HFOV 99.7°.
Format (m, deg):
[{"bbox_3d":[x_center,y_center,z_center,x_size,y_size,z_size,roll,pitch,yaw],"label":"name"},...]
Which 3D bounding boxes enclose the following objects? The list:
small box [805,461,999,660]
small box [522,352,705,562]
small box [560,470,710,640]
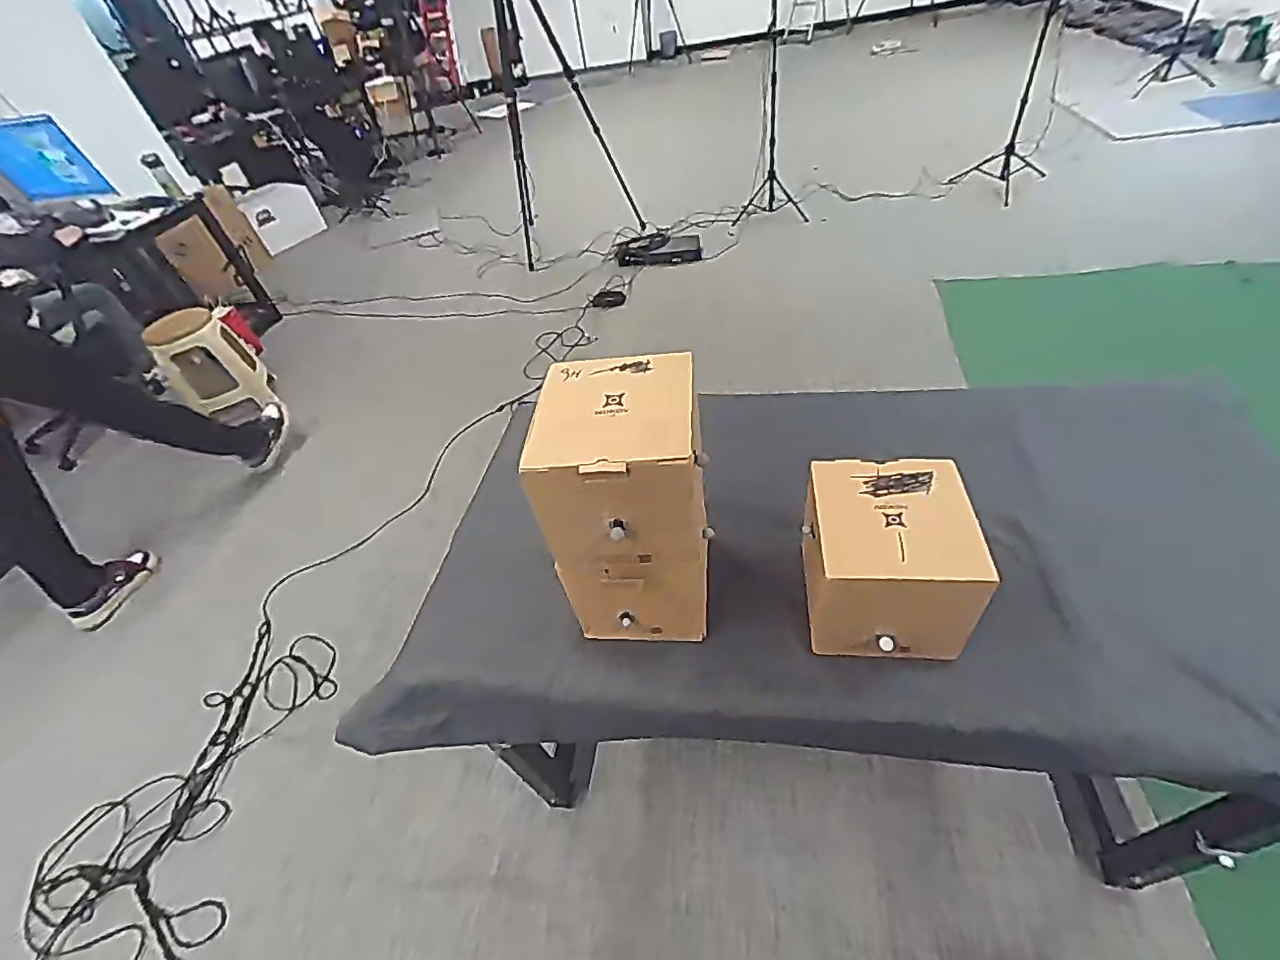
[{"bbox_3d":[0.297,0.095,0.659,0.168,0.176,0.179,-1,45,12],"label":"small box"},{"bbox_3d":[-0.014,-0.019,0.610,0.168,0.176,0.179,-3,46,9],"label":"small box"},{"bbox_3d":[0.006,0.093,0.728,0.168,0.176,0.179,-2,46,10],"label":"small box"}]
